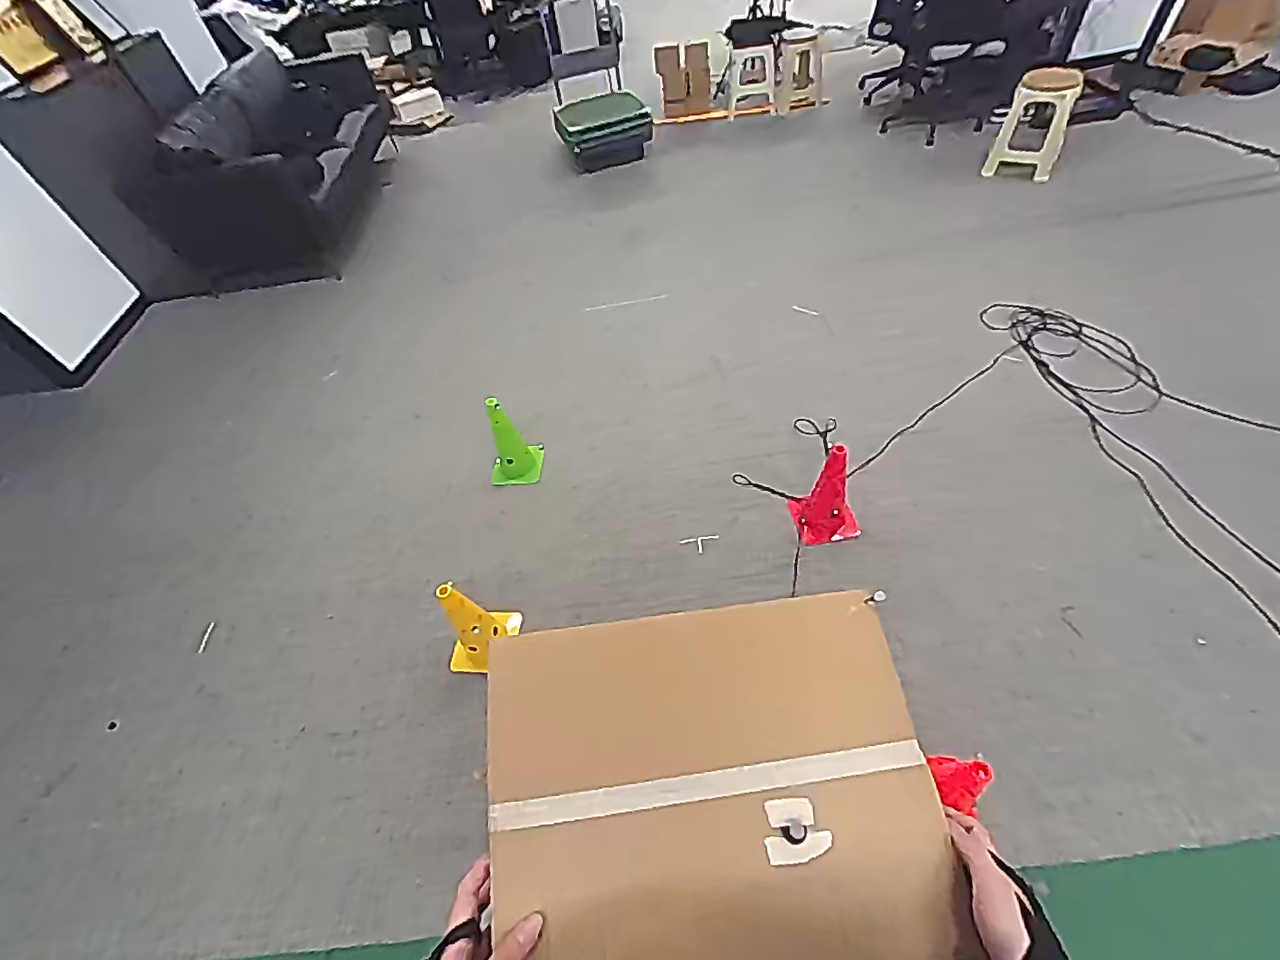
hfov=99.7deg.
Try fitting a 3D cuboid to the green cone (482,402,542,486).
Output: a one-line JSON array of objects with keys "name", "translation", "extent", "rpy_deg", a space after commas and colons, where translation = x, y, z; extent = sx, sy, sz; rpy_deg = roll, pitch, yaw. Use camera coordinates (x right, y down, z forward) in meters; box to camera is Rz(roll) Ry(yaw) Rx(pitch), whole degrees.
[{"name": "green cone", "translation": [-0.528, -0.162, 2.071], "extent": [0.200, 0.368, 0.202], "rpy_deg": [-4, 52, 6]}]

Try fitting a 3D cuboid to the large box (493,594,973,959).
[{"name": "large box", "translation": [0.064, 0.351, 0.640], "extent": [0.408, 0.320, 0.320], "rpy_deg": [-7, 65, -4]}]

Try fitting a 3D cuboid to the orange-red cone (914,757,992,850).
[{"name": "orange-red cone", "translation": [0.691, 0.687, 1.199], "extent": [0.199, 0.360, 0.198], "rpy_deg": [-2, 52, 5]}]
